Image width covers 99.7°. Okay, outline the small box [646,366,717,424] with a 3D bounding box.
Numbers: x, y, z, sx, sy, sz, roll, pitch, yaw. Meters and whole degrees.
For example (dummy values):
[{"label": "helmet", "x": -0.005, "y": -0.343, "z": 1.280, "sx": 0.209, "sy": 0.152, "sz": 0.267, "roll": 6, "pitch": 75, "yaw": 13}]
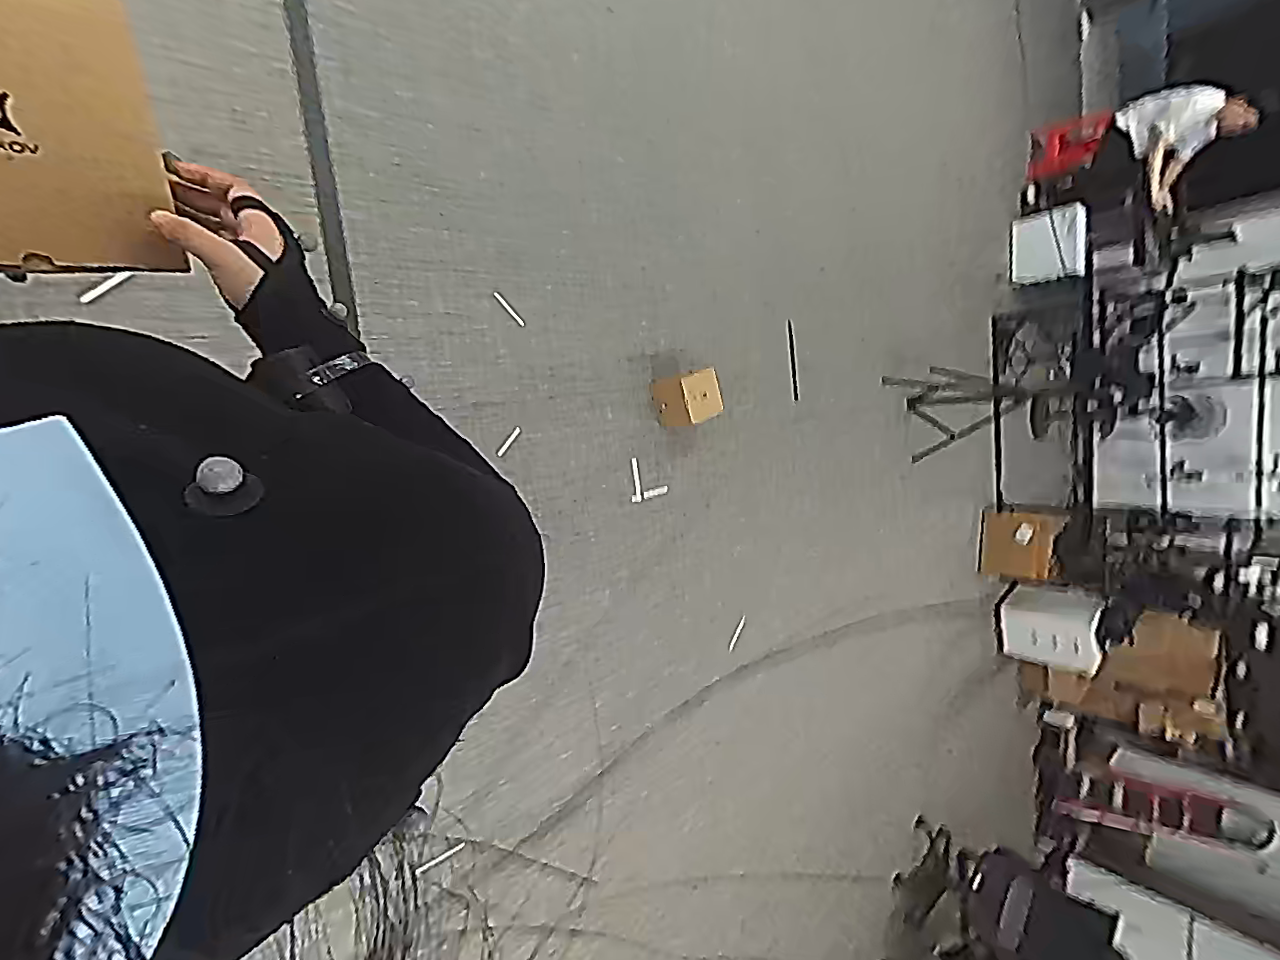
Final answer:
[{"label": "small box", "x": 0.151, "y": -0.309, "z": 1.977, "sx": 0.179, "sy": 0.176, "sz": 0.168, "roll": -27, "pitch": 108, "yaw": -35}]
